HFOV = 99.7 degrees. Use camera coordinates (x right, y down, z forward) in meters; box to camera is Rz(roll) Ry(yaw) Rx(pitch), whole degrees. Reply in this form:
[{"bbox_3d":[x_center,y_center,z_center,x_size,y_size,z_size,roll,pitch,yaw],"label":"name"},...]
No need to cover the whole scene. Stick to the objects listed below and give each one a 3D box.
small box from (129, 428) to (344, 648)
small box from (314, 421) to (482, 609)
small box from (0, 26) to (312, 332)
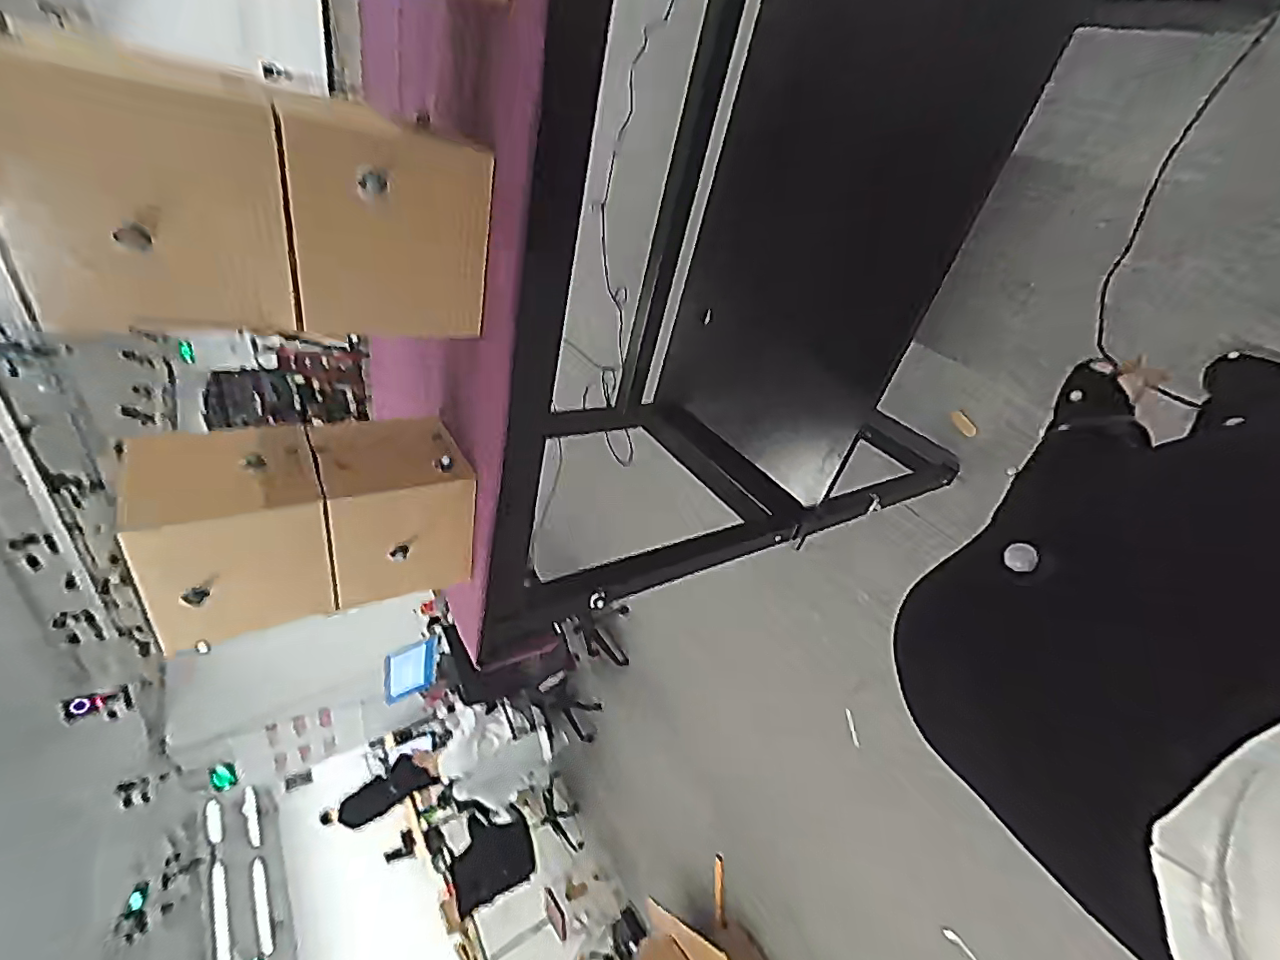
[{"bbox_3d":[-0.454,0.057,0.630,0.168,0.176,0.179,46,134,39],"label":"small box"},{"bbox_3d":[-0.319,0.034,0.721,0.168,0.176,0.179,45,134,41],"label":"small box"},{"bbox_3d":[-0.386,-0.239,0.451,0.168,0.176,0.179,49,136,37],"label":"small box"}]
